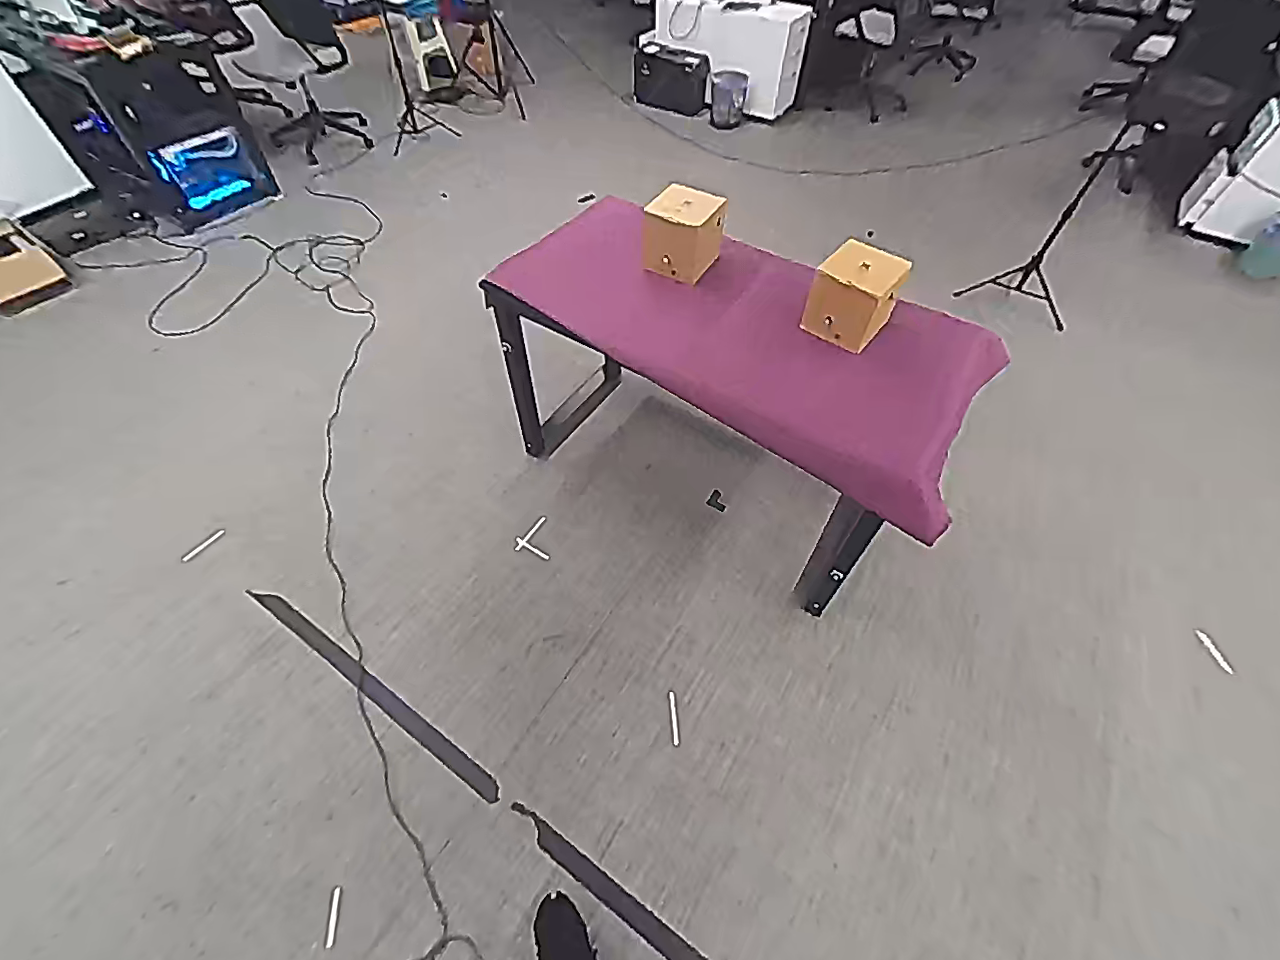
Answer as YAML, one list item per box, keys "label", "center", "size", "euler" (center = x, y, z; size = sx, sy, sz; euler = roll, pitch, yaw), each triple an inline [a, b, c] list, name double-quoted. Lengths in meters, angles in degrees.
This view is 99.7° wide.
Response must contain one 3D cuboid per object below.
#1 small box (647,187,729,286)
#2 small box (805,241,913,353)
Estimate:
- label: "small box"
  center: [0.125, -0.671, 1.492]
  size: [0.168, 0.176, 0.179]
  euler: [26, 57, 17]
- label: "small box"
  center: [0.531, -0.450, 1.334]
  size: [0.168, 0.176, 0.179]
  euler: [34, 61, 23]
